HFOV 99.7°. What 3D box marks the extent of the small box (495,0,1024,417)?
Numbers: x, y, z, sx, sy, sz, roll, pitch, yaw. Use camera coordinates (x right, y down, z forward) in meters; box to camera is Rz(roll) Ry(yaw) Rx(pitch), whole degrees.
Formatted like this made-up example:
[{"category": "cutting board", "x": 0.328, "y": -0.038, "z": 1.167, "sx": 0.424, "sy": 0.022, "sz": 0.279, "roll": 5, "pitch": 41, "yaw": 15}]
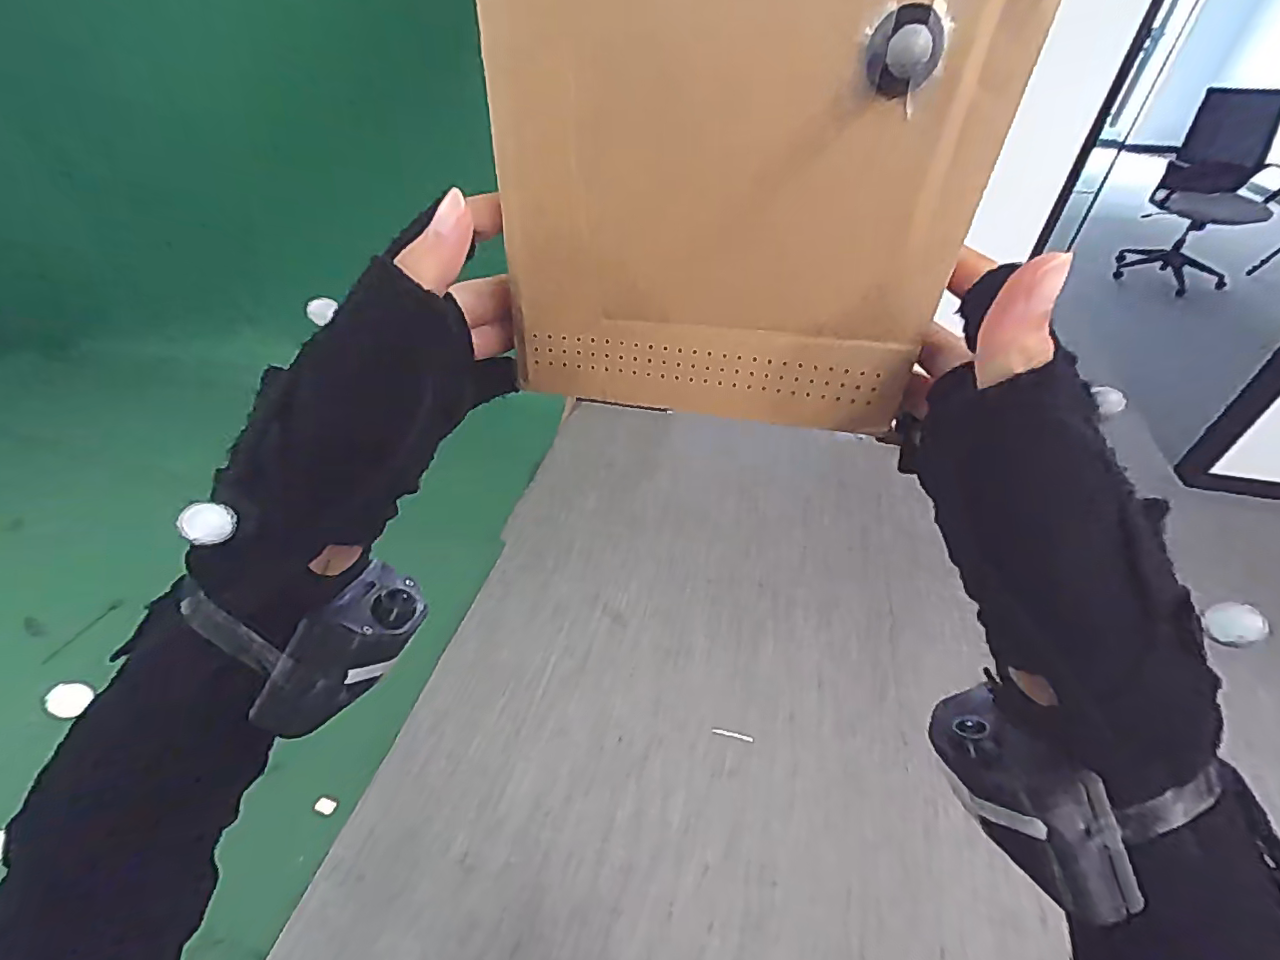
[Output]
[{"category": "small box", "x": 0.042, "y": -0.147, "z": 0.268, "sx": 0.179, "sy": 0.176, "sz": 0.168, "roll": 8, "pitch": 39, "yaw": 5}]
